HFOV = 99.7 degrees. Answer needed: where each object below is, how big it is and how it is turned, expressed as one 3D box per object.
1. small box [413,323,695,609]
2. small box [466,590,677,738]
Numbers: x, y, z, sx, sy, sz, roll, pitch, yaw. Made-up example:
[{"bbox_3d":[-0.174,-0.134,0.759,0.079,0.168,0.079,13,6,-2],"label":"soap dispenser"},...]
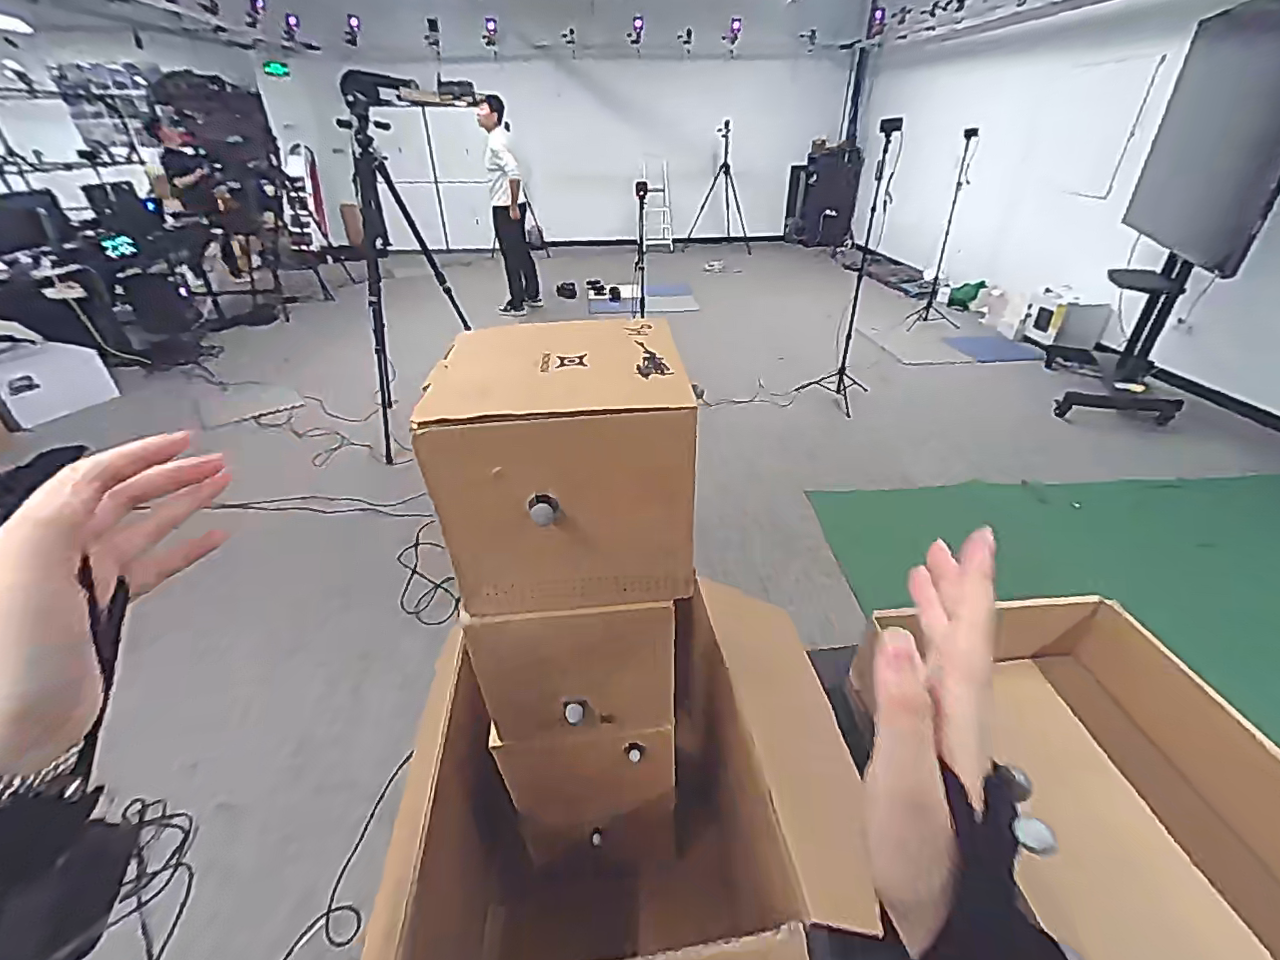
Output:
[{"bbox_3d":[-0.052,-0.013,0.436,0.179,0.176,0.168,-4,36,-2],"label":"small box"},{"bbox_3d":[-0.058,0.121,0.530,0.168,0.176,0.179,-4,36,-3],"label":"small box"}]
